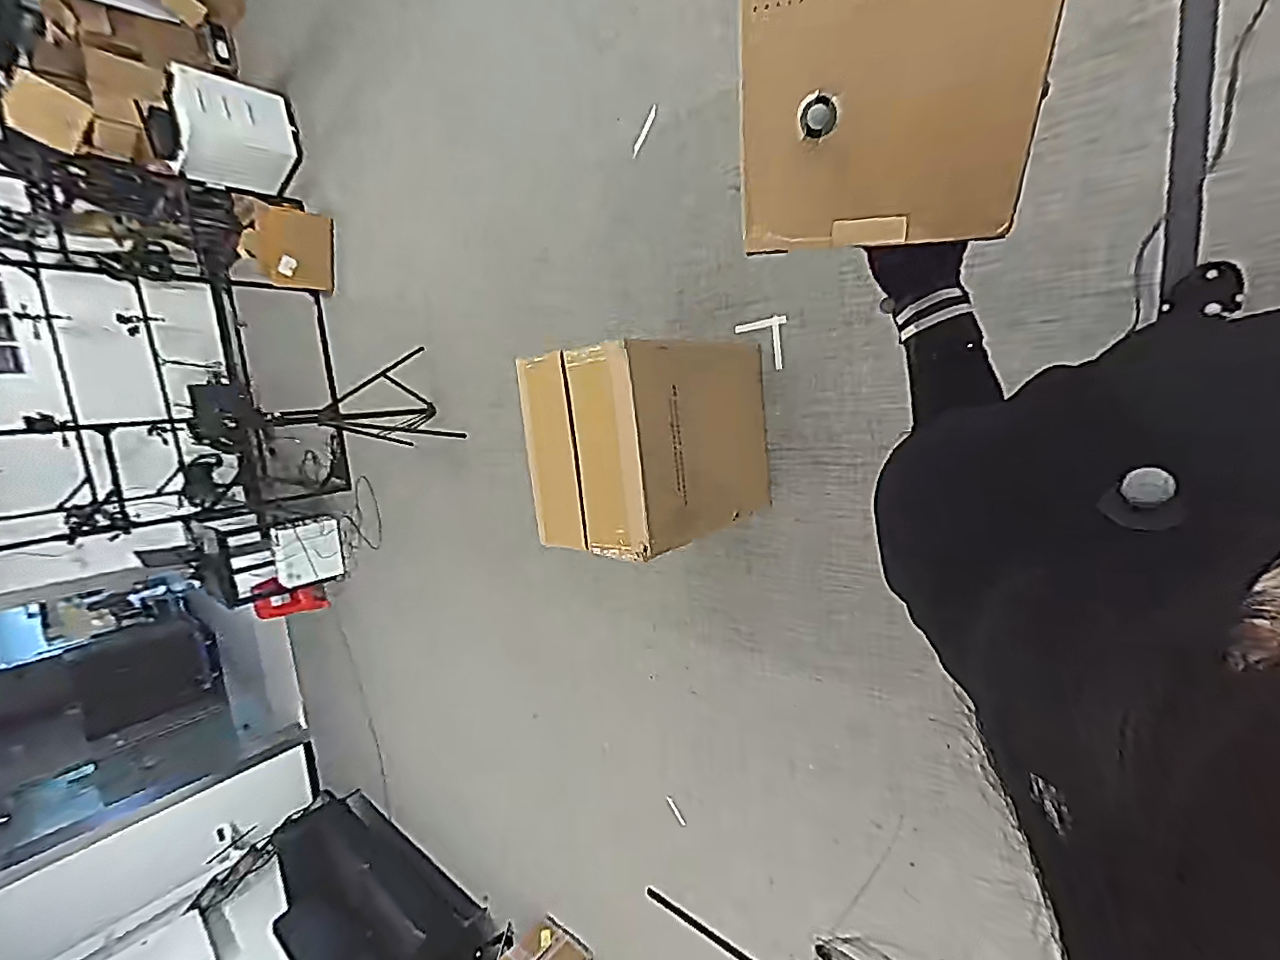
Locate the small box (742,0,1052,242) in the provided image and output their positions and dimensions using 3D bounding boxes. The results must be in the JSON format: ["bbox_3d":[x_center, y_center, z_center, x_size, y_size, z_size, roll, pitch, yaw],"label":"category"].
[{"bbox_3d":[0.164,-0.278,0.379,0.168,0.179,0.176,4,124,17],"label":"small box"}]
